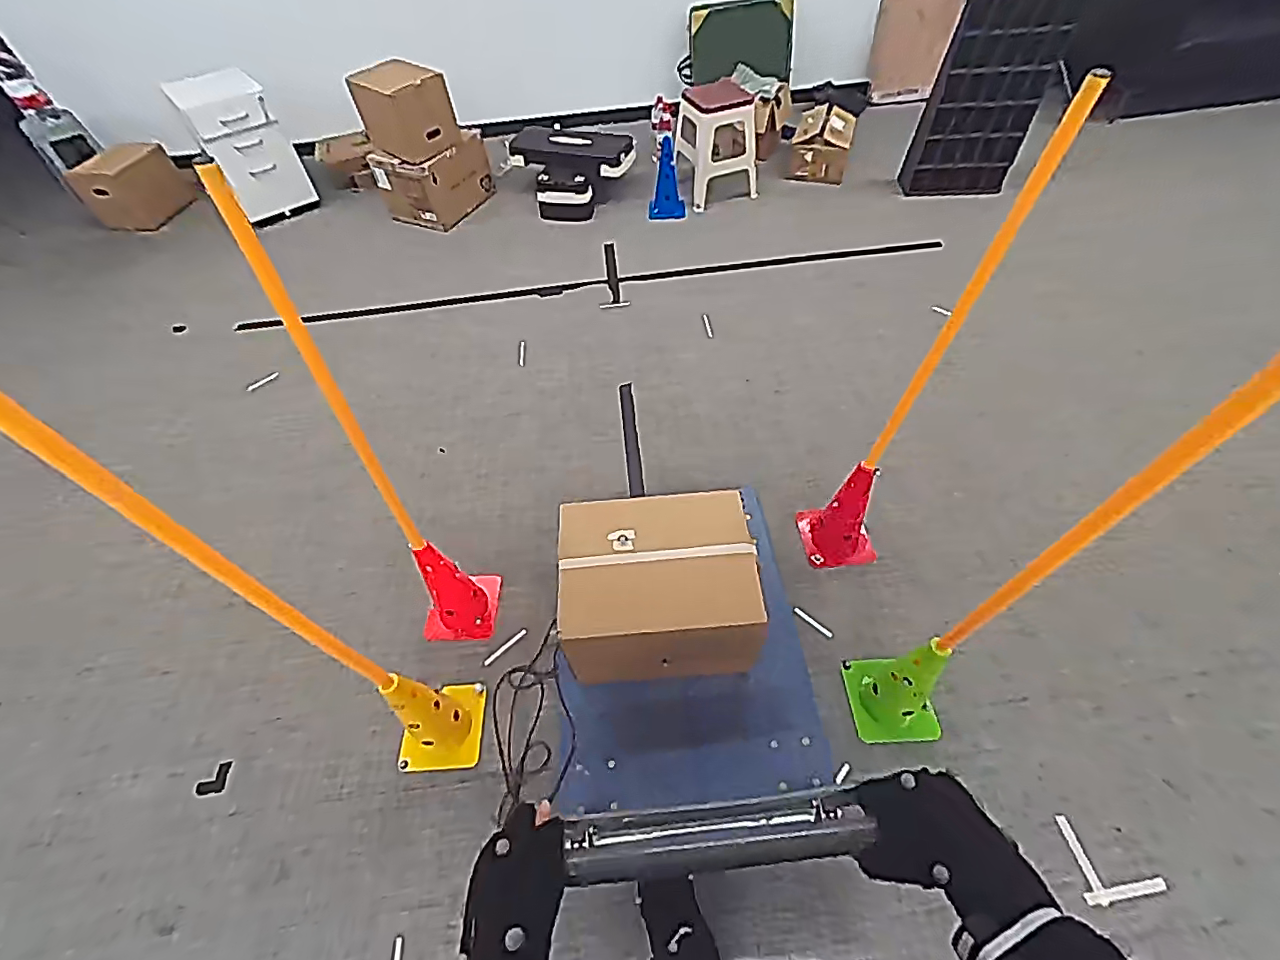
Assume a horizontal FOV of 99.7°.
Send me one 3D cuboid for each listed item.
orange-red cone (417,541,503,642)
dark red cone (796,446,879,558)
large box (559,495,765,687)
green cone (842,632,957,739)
[{"bbox_3d":[-0.521,0.272,1.458,0.198,0.360,0.199,-1,51,3],"label":"orange-red cone"},{"bbox_3d":[0.589,0.048,1.518,0.201,0.394,0.202,-6,53,-3],"label":"dark red cone"},{"bbox_3d":[0.042,0.263,1.239,0.408,0.320,0.320,-6,53,1],"label":"large box"},{"bbox_3d":[0.624,0.441,1.234,0.202,0.368,0.200,-4,52,0],"label":"green cone"}]
